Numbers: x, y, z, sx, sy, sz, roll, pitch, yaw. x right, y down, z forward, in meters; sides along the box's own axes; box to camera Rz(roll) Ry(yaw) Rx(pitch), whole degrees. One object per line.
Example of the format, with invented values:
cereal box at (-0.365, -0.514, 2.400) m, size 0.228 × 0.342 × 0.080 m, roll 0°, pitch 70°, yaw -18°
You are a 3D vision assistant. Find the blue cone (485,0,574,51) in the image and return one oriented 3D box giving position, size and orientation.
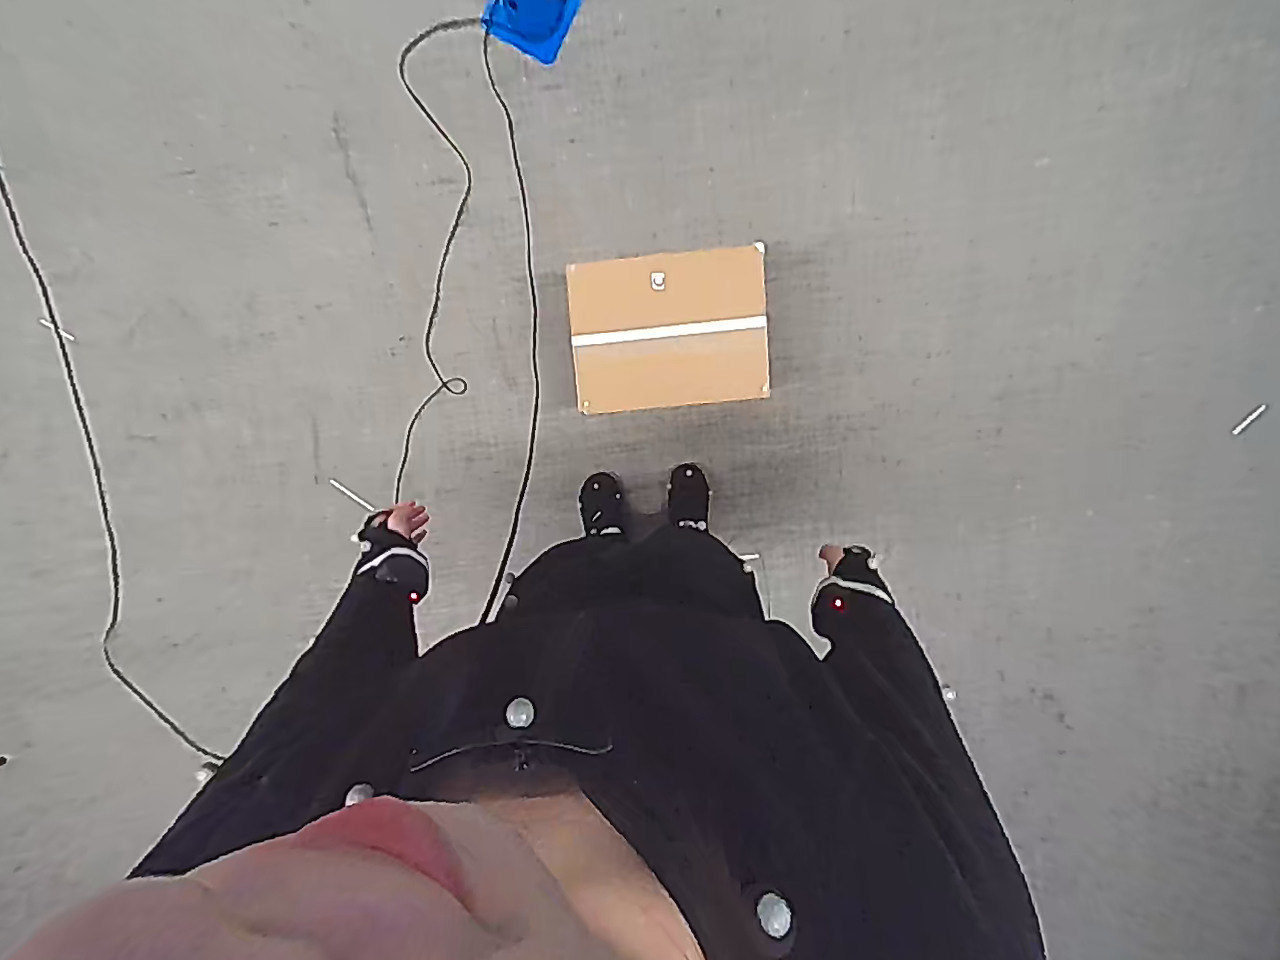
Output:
blue cone at (-0.254, -1.109, 1.104) m, size 0.192 × 0.380 × 0.193 m, roll 26°, pitch 98°, yaw -4°
